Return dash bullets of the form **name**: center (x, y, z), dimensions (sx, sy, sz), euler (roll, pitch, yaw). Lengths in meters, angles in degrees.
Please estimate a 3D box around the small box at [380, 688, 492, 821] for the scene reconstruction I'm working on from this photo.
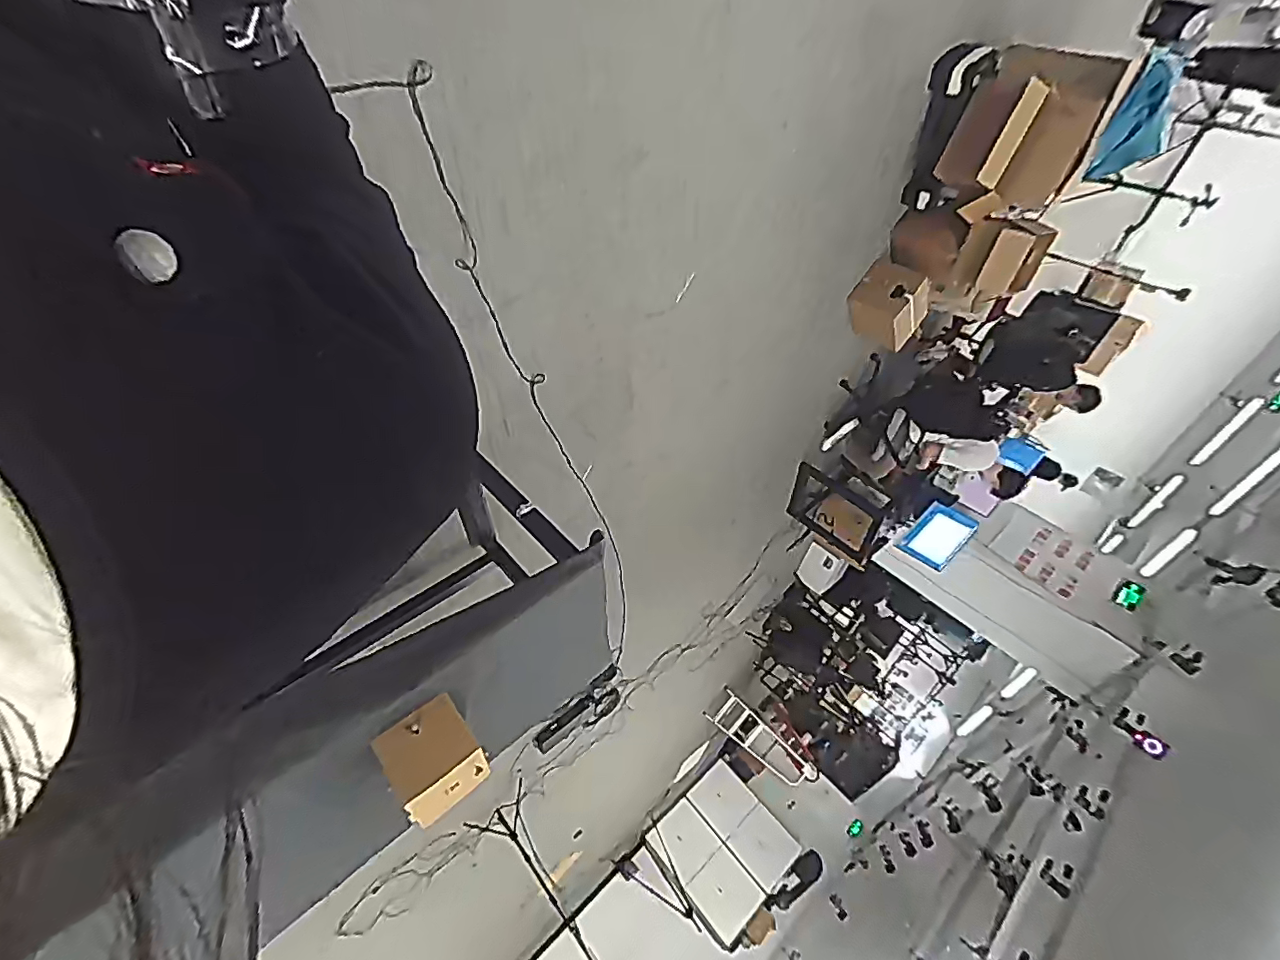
- **small box**: center (-0.461, 0.613, 1.218), dimensions (0.179, 0.176, 0.168), euler (-30, 144, -30)
